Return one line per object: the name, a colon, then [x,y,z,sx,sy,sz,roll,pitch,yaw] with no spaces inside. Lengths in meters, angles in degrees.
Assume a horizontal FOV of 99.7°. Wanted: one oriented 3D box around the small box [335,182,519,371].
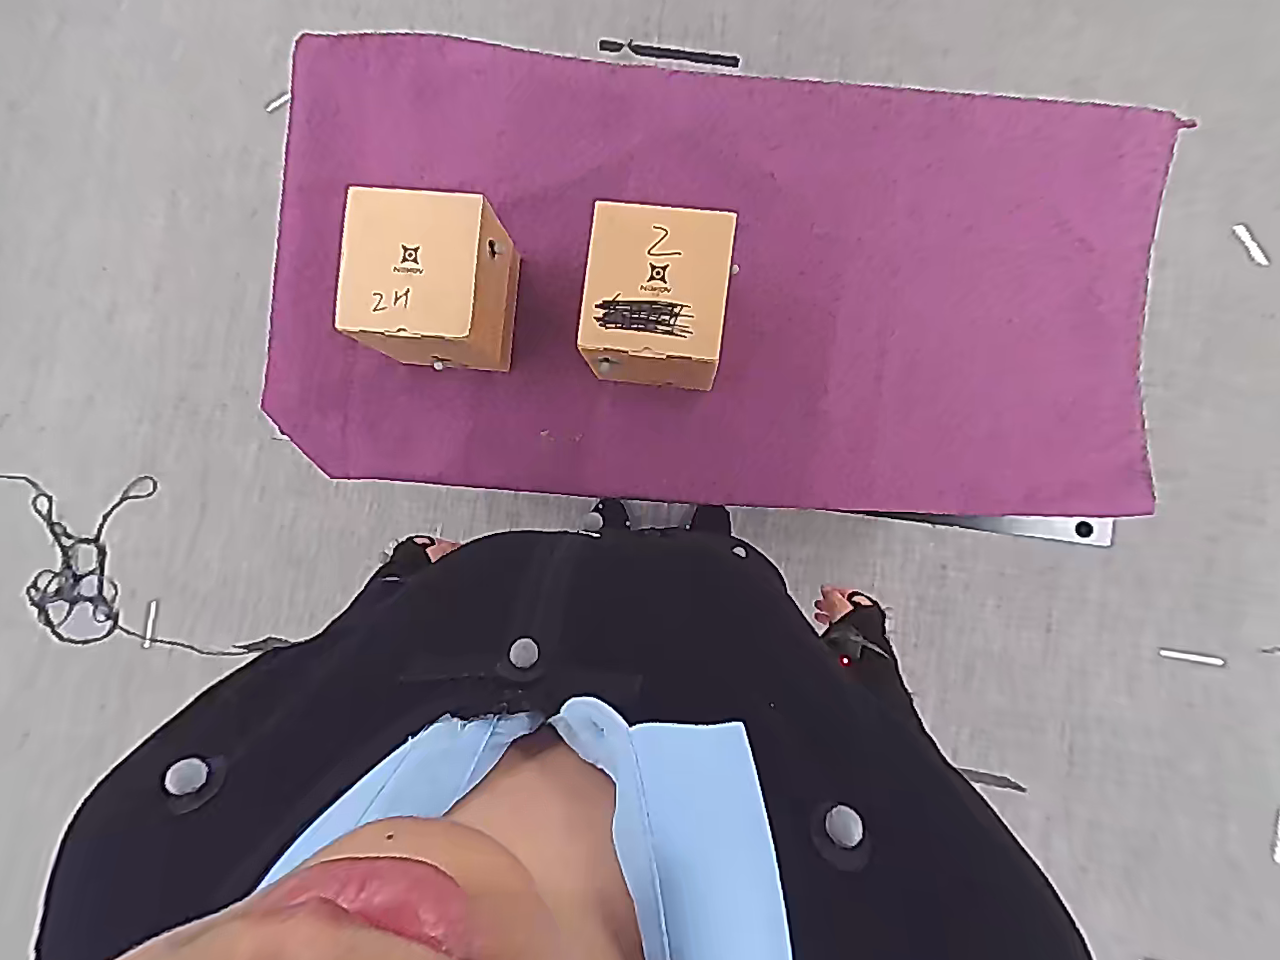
small box: [-0.263,-0.254,0.708,0.168,0.176,0.179,5,89,3]
